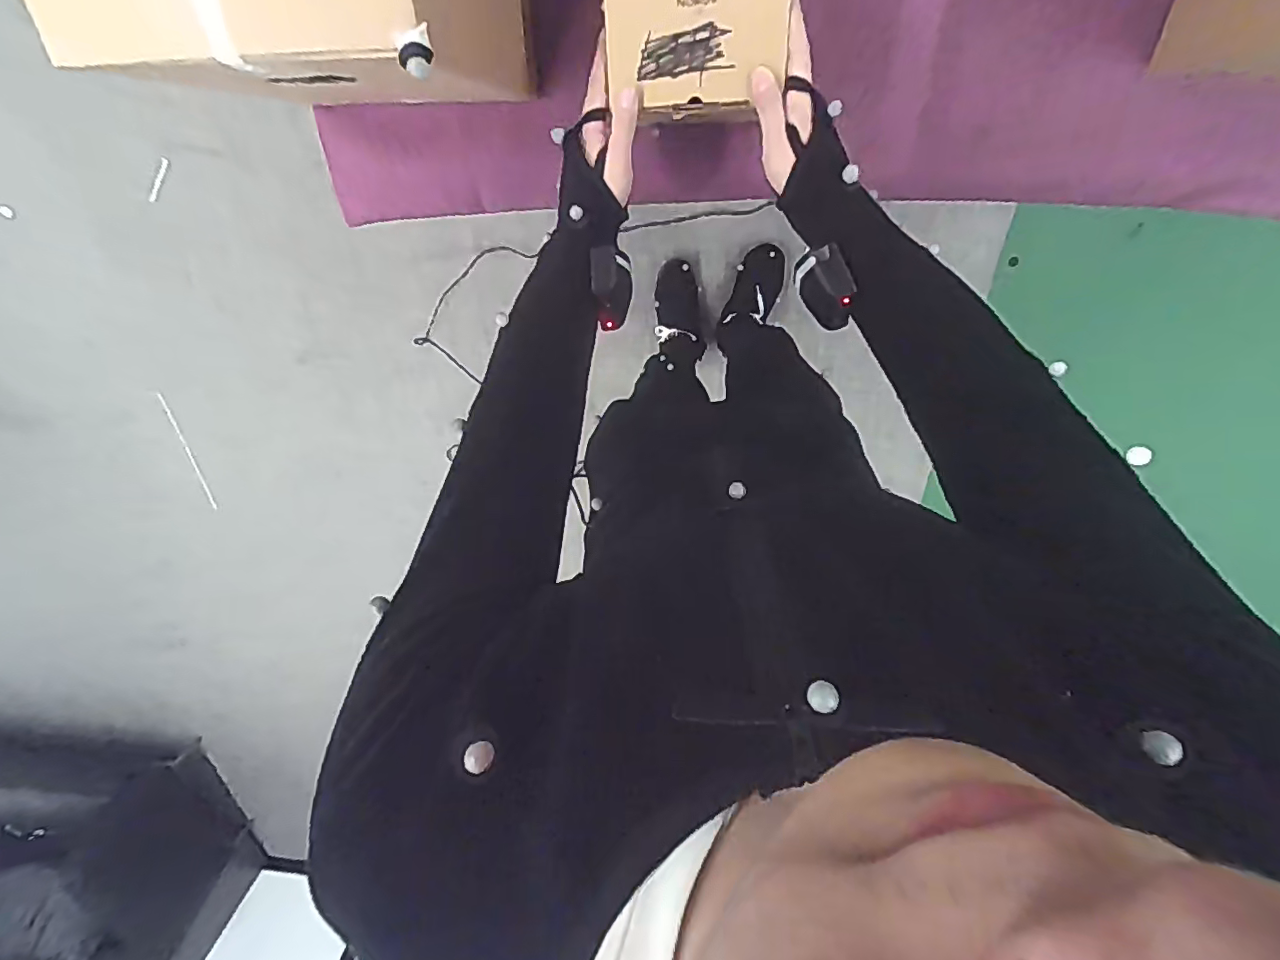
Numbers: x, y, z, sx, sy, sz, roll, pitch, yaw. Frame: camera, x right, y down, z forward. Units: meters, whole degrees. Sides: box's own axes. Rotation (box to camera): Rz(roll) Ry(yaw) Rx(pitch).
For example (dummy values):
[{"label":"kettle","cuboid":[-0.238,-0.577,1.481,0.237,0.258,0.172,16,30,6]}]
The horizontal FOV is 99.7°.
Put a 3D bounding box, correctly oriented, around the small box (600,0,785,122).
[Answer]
[{"label":"small box","cuboid":[0.055,-0.465,0.535,0.168,0.176,0.179,1,118,7]}]
